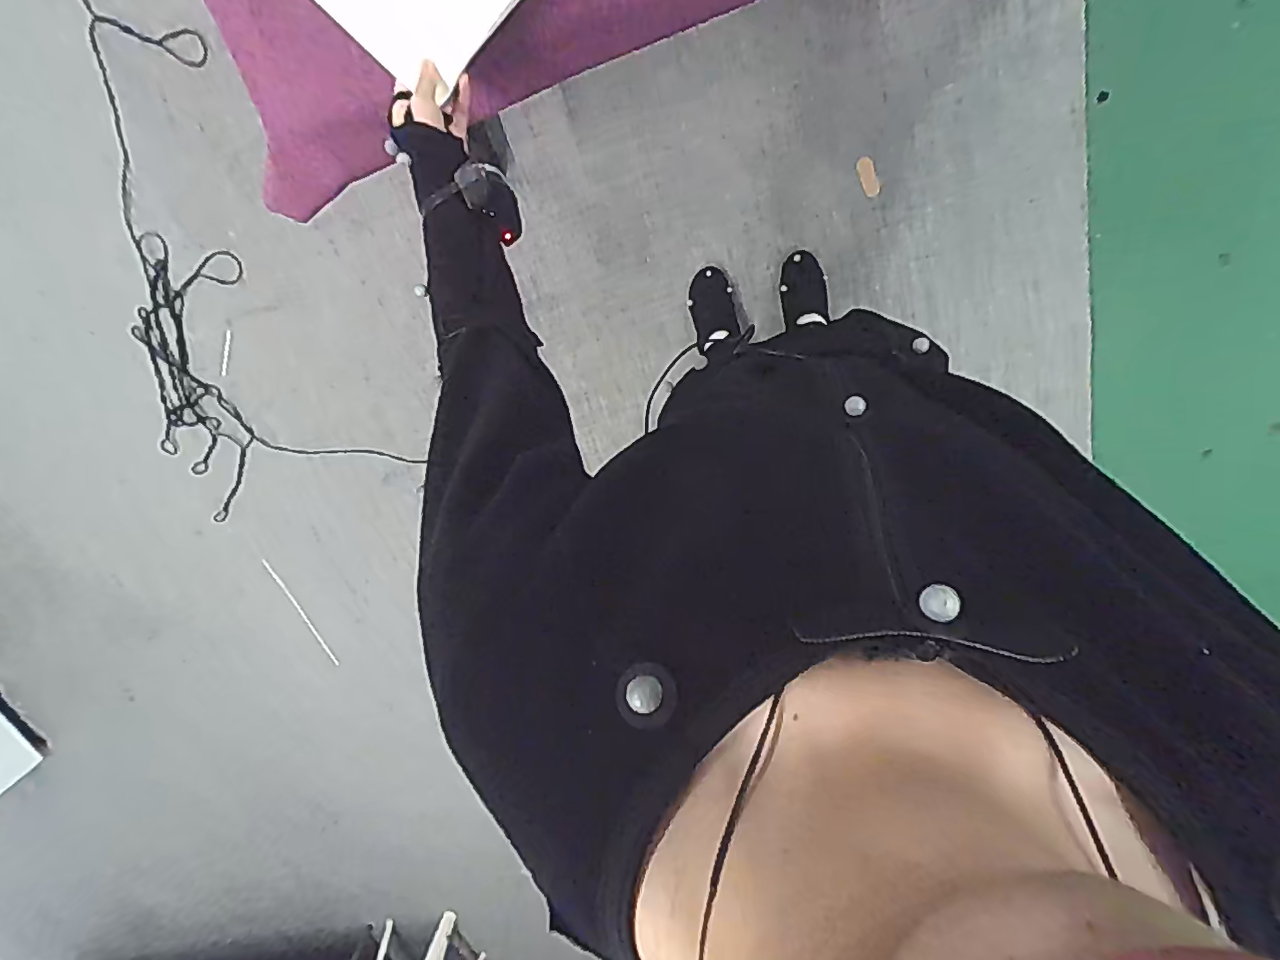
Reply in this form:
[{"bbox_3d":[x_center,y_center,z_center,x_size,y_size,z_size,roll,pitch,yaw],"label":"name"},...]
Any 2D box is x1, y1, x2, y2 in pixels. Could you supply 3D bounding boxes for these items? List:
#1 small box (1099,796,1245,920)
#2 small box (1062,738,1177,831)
[{"bbox_3d":[1.229,0.872,1.258,0.179,0.176,0.168,-22,109,15],"label":"small box"},{"bbox_3d":[1.242,0.801,1.403,0.168,0.176,0.179,-23,109,15],"label":"small box"}]
